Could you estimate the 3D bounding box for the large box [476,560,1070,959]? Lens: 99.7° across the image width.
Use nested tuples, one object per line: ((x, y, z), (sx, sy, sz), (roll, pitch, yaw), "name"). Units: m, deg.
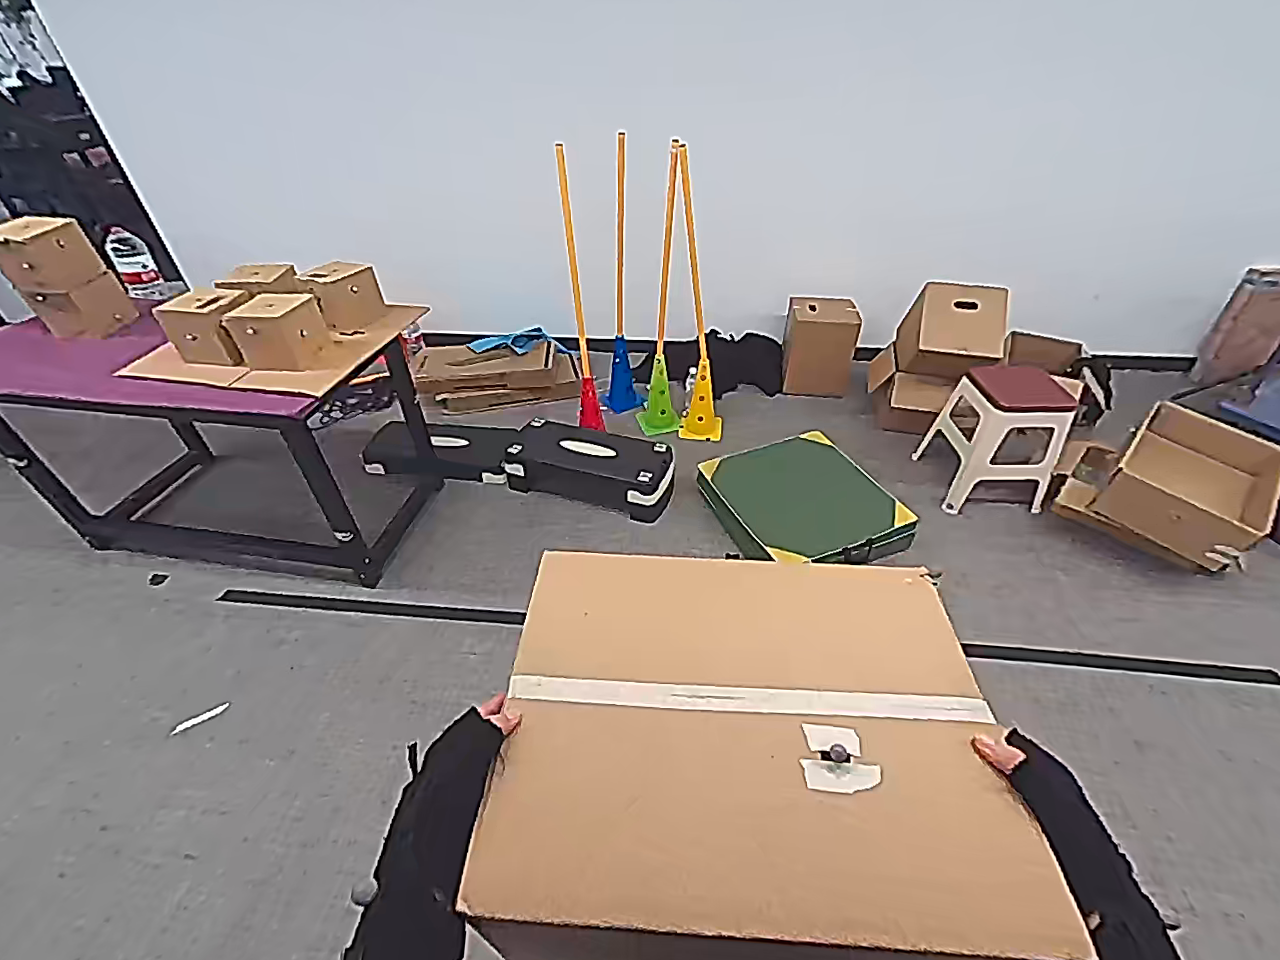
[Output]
((0.090, 0.305, 0.565), (0.408, 0.320, 0.320), (2, 42, 2), "large box")
